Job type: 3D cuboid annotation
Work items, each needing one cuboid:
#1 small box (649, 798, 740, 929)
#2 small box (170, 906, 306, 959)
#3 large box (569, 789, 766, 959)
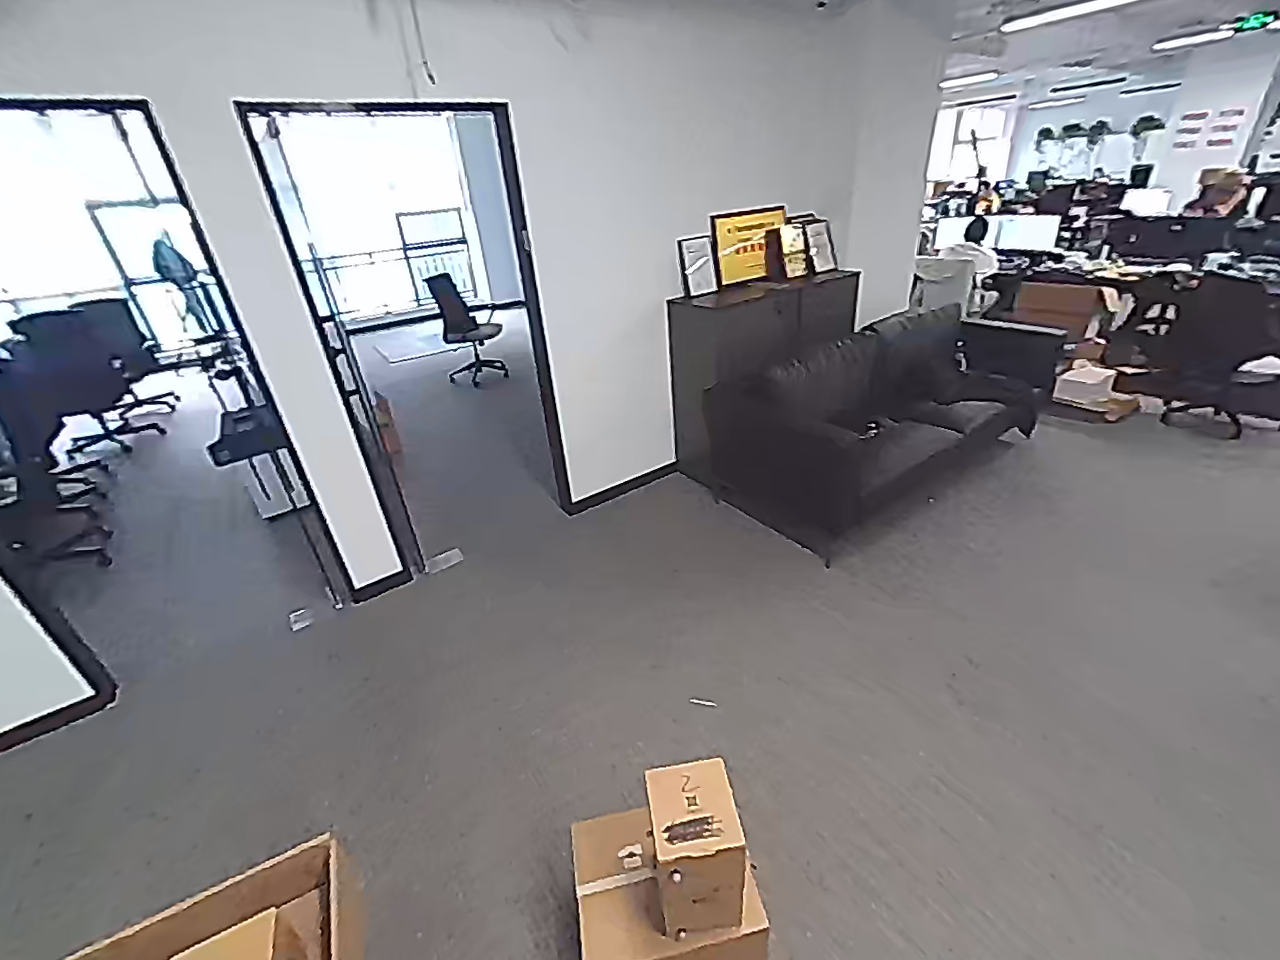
[{"bbox_3d":[0.115,0.835,1.172,0.168,0.176,0.179,-7,30,-5],"label":"small box"},{"bbox_3d":[-0.698,0.909,0.937,0.168,0.176,0.179,-17,33,-22],"label":"small box"},{"bbox_3d":[0.060,1.037,1.323,0.408,0.320,0.320,-10,29,-8],"label":"large box"}]
